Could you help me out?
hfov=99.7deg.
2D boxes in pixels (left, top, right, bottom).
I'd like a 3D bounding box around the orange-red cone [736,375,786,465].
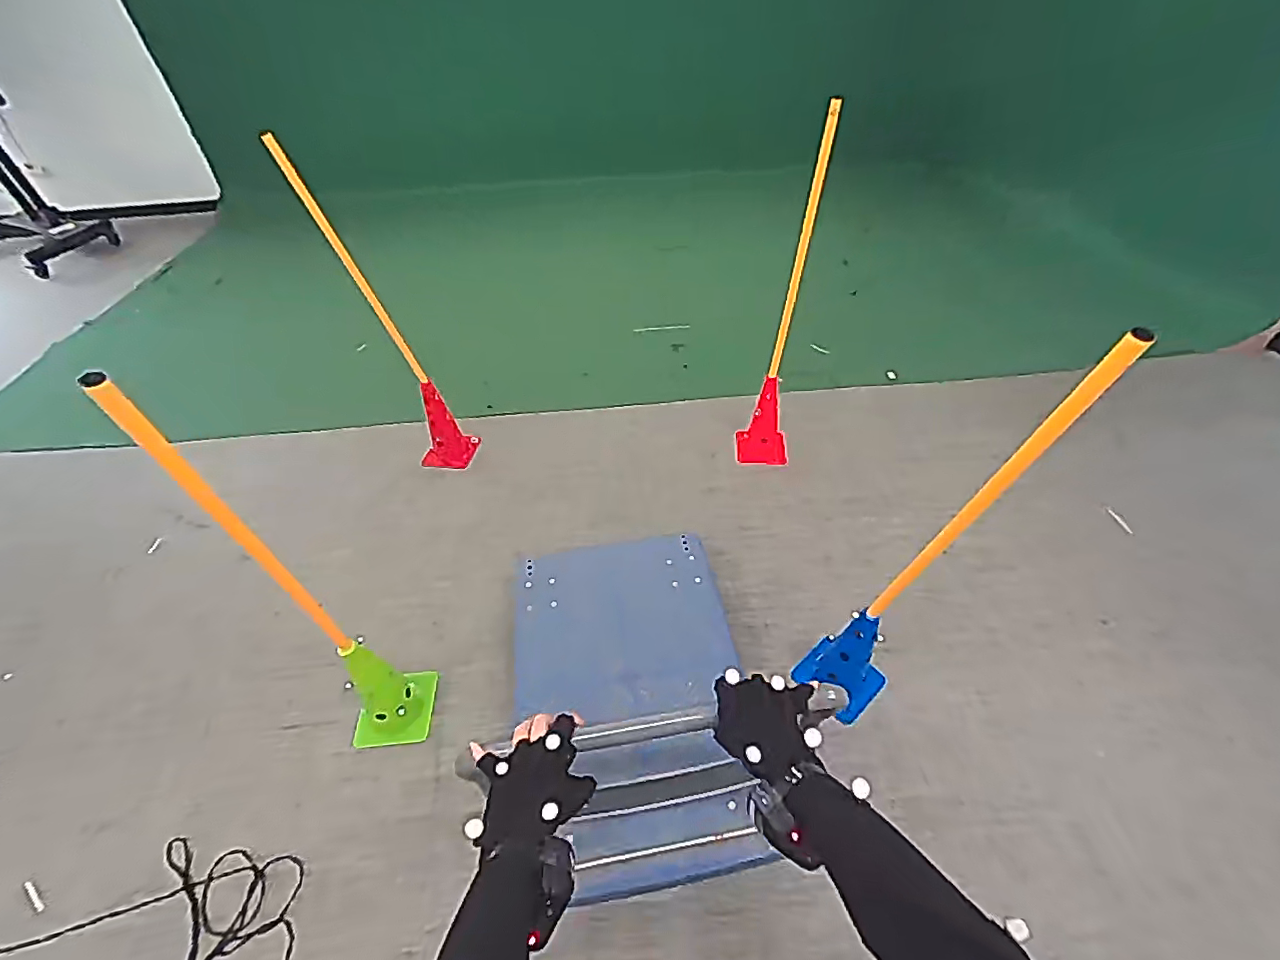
[{"bbox_3d":[0.489,-0.251,2.107,0.198,0.360,0.199,3,46,7],"label":"orange-red cone"}]
